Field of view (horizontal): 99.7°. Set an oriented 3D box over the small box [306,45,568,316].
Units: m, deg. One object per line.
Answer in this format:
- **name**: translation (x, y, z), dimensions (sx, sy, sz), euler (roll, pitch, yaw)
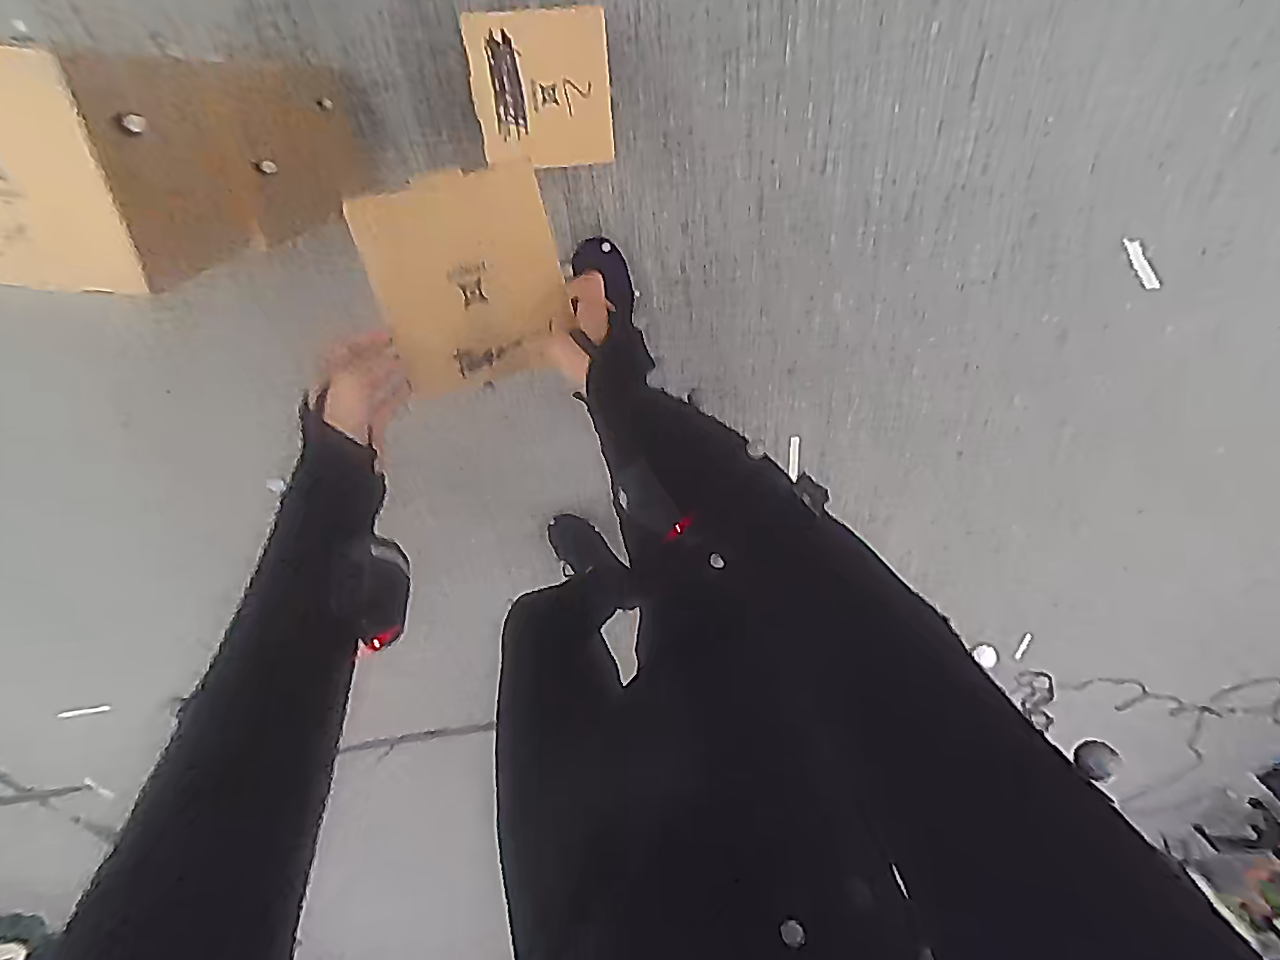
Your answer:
- **small box**: translation (-0.174, -0.264, 0.519), dimensions (0.168, 0.176, 0.179), euler (-16, 108, -5)
